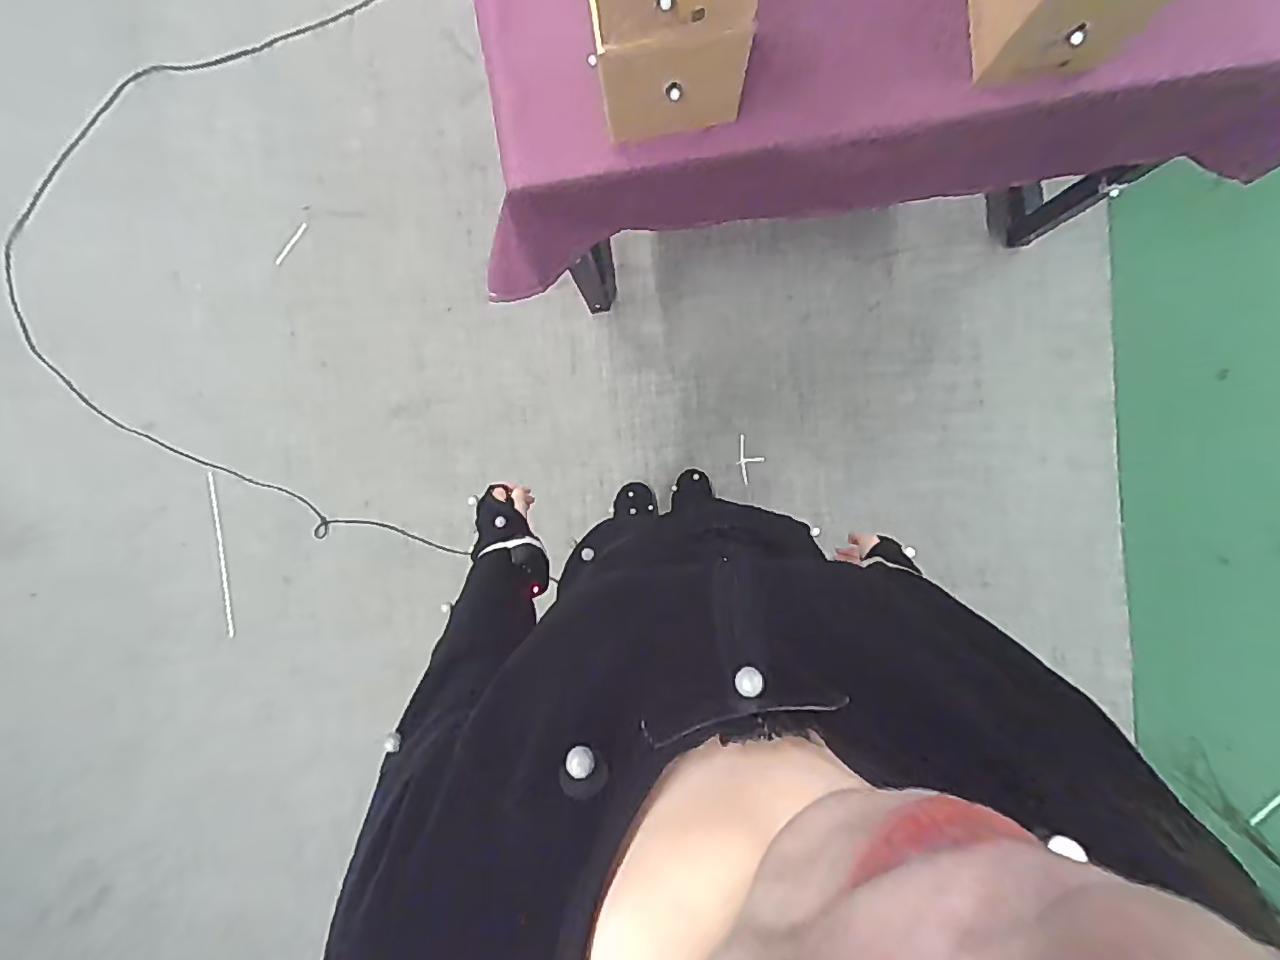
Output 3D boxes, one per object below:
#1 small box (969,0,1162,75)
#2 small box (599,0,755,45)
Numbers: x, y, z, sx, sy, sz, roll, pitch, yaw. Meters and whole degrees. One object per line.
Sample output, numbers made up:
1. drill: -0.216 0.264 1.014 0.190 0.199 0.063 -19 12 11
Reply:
1. small box: 0.520 -0.623 0.644 0.168 0.176 0.179 -5 92 2
2. small box: 0.027 -0.565 0.504 0.168 0.176 0.179 -8 93 3
